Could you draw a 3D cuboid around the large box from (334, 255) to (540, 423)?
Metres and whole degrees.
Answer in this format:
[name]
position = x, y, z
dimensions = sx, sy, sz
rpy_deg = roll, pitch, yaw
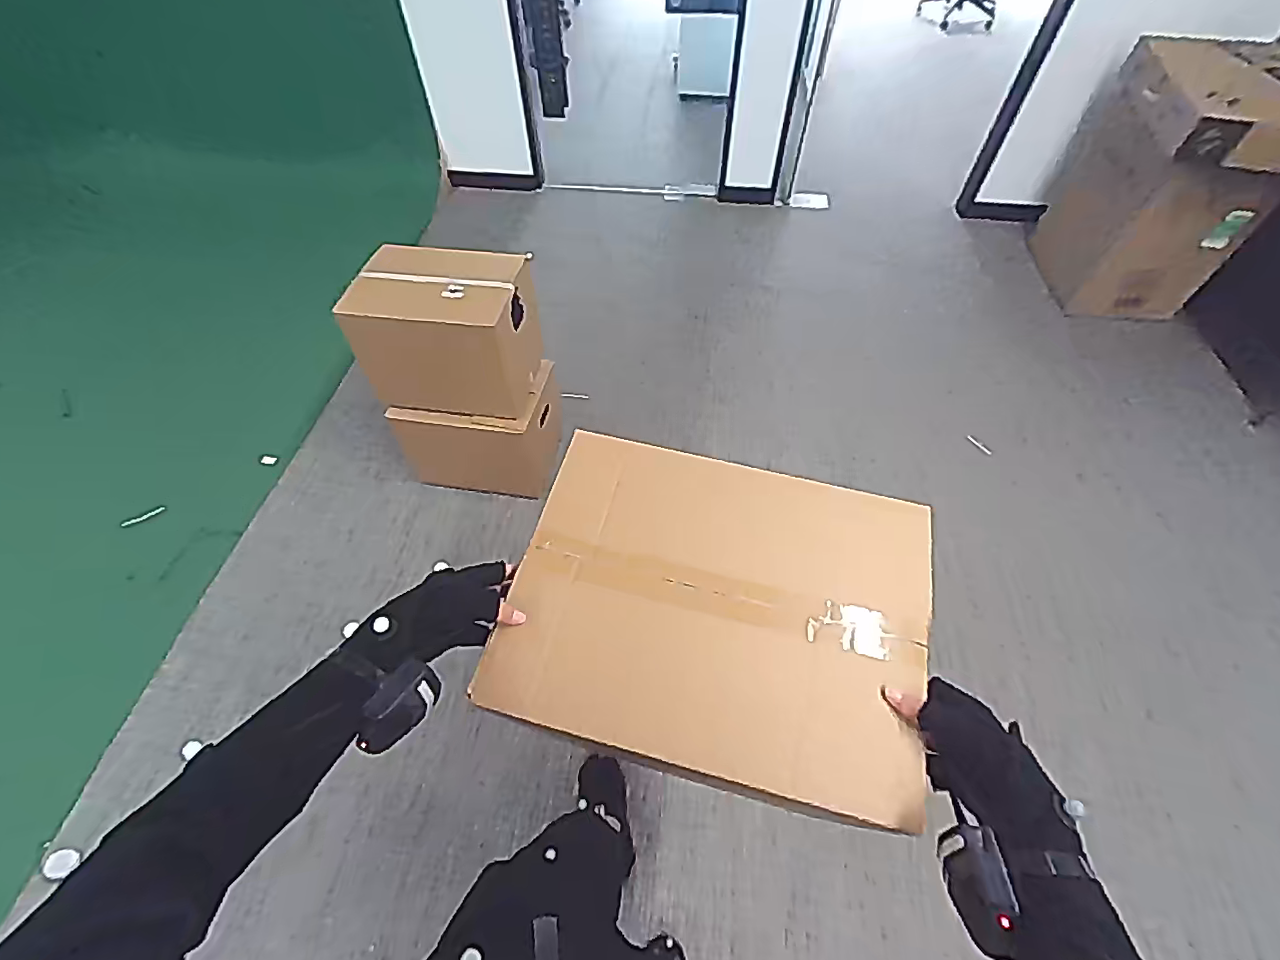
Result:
[large box]
position = -0.520, -0.381, 1.479
dimensions = 0.408, 0.320, 0.320
rpy_deg = 7, 51, 3
